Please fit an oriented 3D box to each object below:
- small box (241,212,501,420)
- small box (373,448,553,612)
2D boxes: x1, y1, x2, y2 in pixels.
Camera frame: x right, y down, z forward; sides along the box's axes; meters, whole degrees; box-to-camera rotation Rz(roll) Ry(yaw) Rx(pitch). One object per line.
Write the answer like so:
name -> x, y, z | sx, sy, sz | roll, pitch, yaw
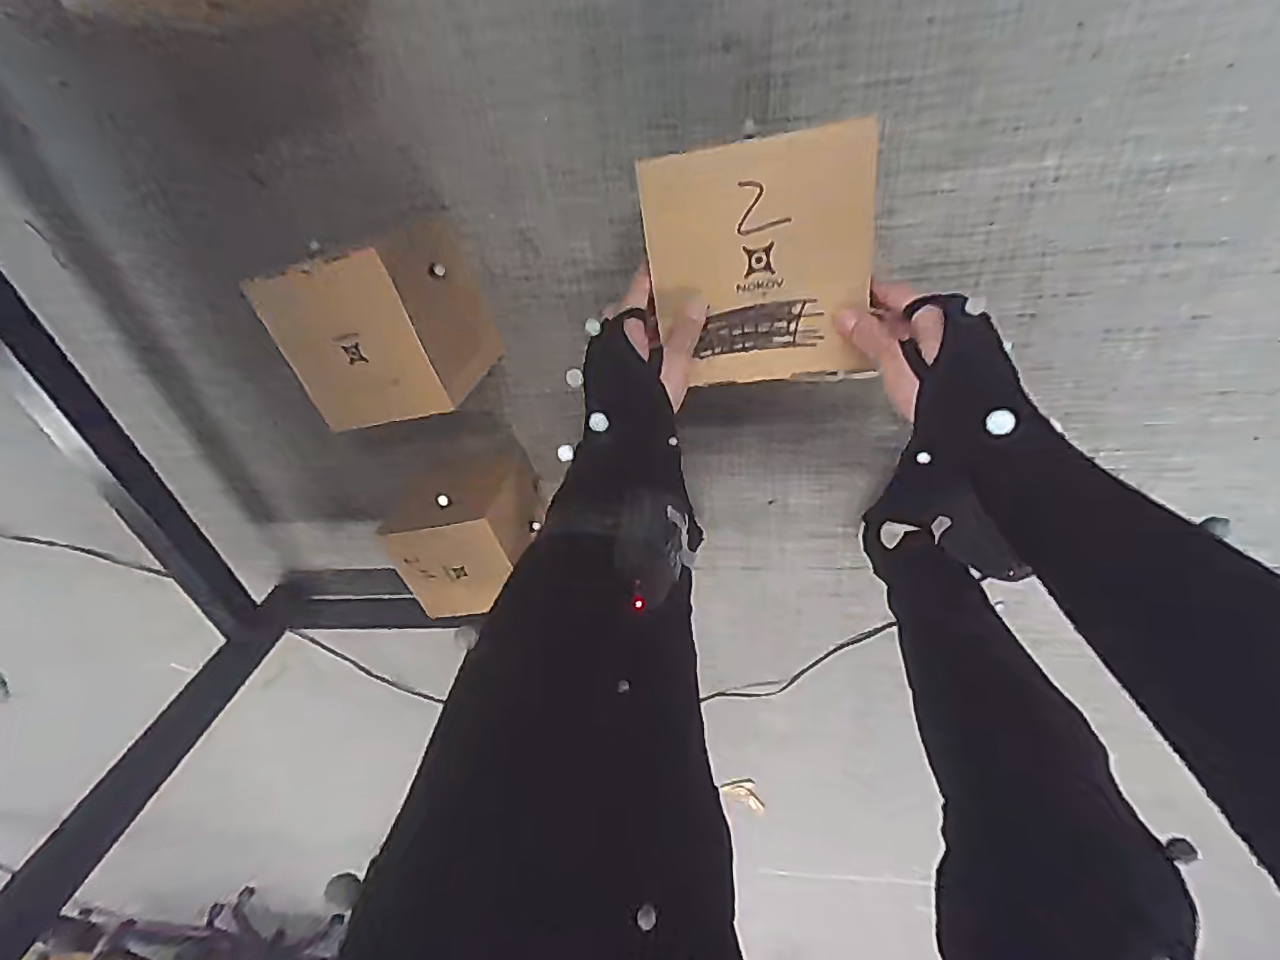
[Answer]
small box -> -0.285, -0.193, 0.619 | 0.168, 0.176, 0.179 | -7, 124, 14
small box -> -0.240, 0.069, 0.794 | 0.179, 0.176, 0.168 | -9, 123, 14
